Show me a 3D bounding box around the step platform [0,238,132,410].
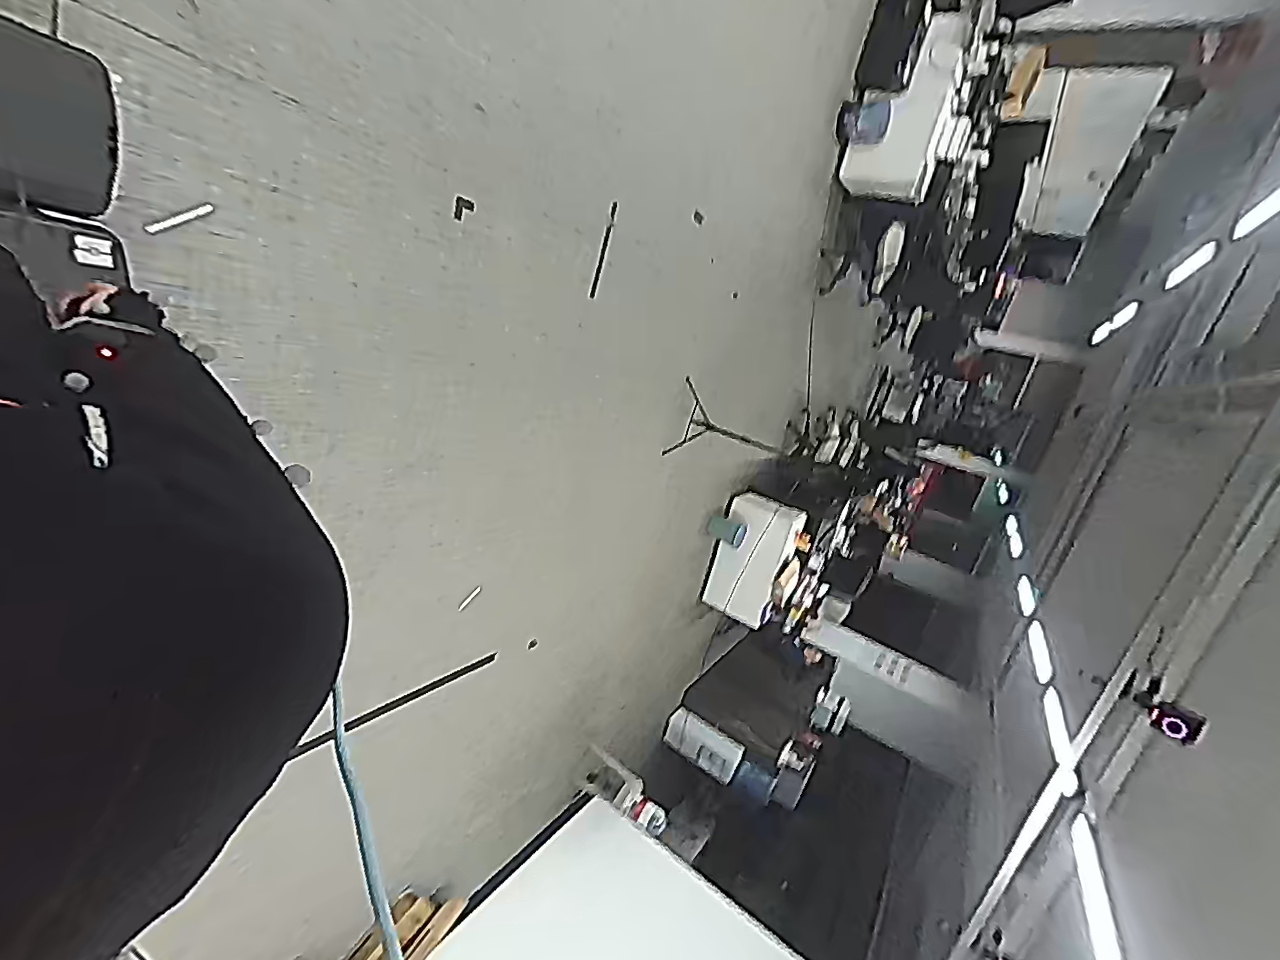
[{"bbox_3d":[-1.229,-0.287,0.809,0.684,0.204,0.286,0,109,-57],"label":"step platform"}]
